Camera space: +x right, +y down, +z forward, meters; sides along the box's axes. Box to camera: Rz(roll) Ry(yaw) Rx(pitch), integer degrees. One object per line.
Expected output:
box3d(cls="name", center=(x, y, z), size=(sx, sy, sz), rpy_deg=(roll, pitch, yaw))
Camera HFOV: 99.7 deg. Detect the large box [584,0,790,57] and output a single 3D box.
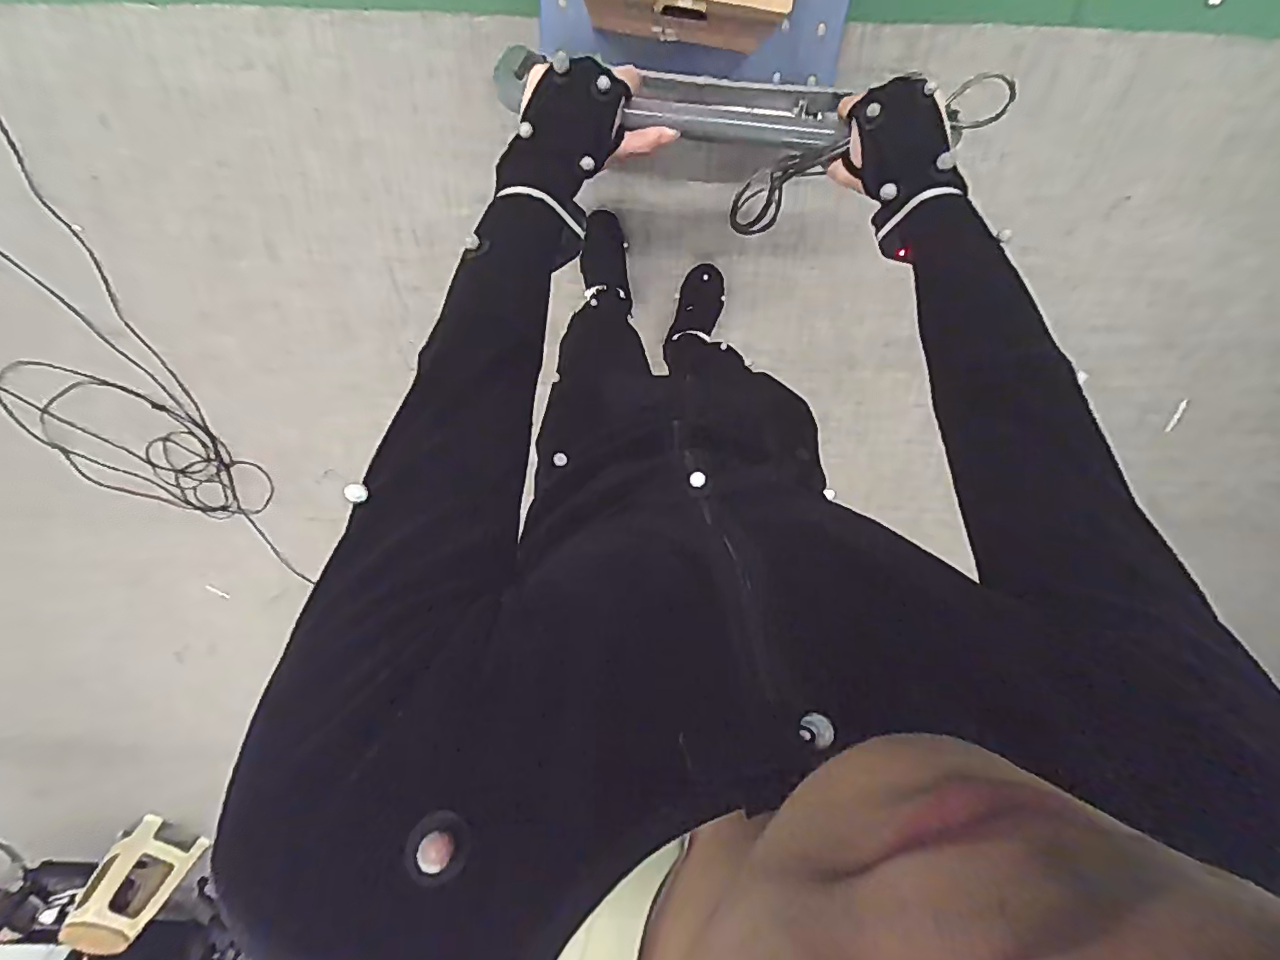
box3d(cls="large box", center=(0.083, -0.927, 0.812), size=(0.320, 0.320, 0.408), rpy_deg=(6, 120, -4))
